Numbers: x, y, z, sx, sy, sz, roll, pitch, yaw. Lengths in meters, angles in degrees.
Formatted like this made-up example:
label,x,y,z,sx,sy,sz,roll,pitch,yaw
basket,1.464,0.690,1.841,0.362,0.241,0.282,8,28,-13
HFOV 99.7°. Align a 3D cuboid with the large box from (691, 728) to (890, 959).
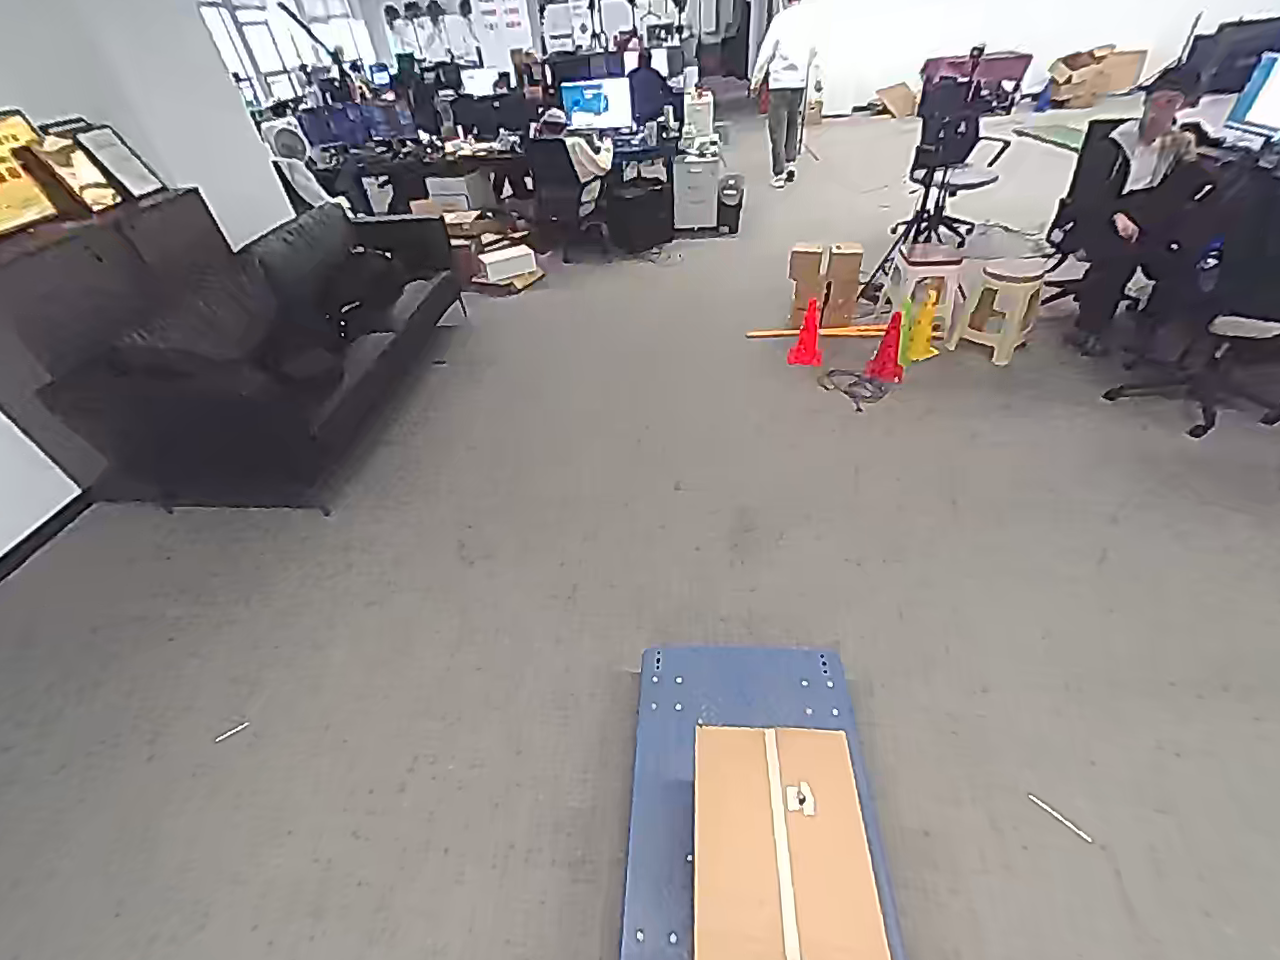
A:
label,x,y,z,sx,sy,sz,roll,pitch,yaw
large box,0.267,0.773,1.095,0.320,0.320,0.408,-1,40,6
